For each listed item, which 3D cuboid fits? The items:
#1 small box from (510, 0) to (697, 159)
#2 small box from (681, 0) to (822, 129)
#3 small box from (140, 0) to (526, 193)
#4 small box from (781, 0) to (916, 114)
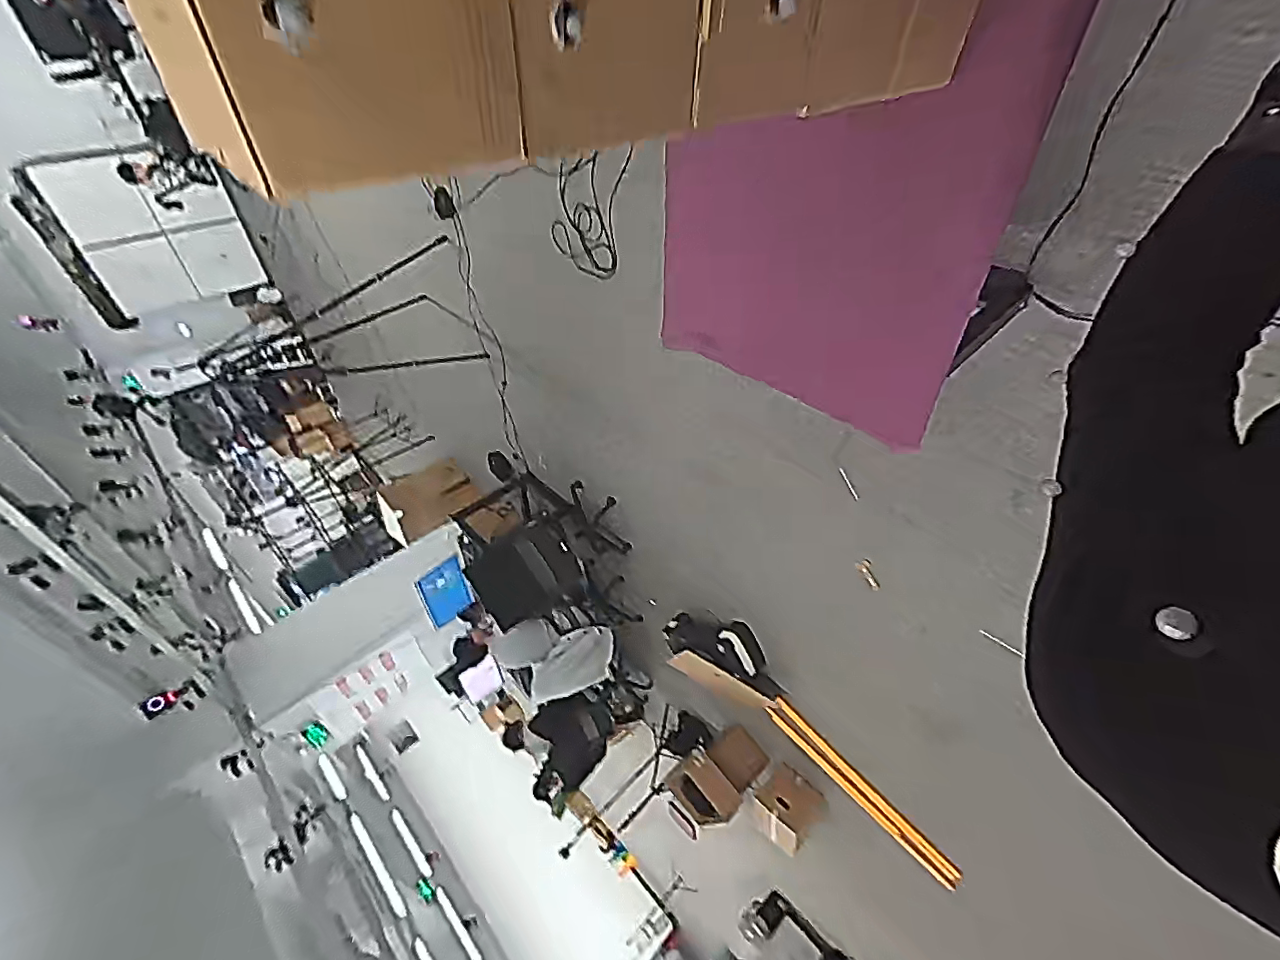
[{"bbox_3d":[-0.066,-0.368,0.407,0.168,0.176,0.179,37,143,31],"label":"small box"},{"bbox_3d":[0.056,-0.442,0.489,0.179,0.176,0.168,38,144,29],"label":"small box"},{"bbox_3d":[-0.187,-0.300,0.322,0.168,0.176,0.179,38,144,31],"label":"small box"},{"bbox_3d":[0.179,-0.513,0.569,0.168,0.176,0.179,38,145,29],"label":"small box"}]
